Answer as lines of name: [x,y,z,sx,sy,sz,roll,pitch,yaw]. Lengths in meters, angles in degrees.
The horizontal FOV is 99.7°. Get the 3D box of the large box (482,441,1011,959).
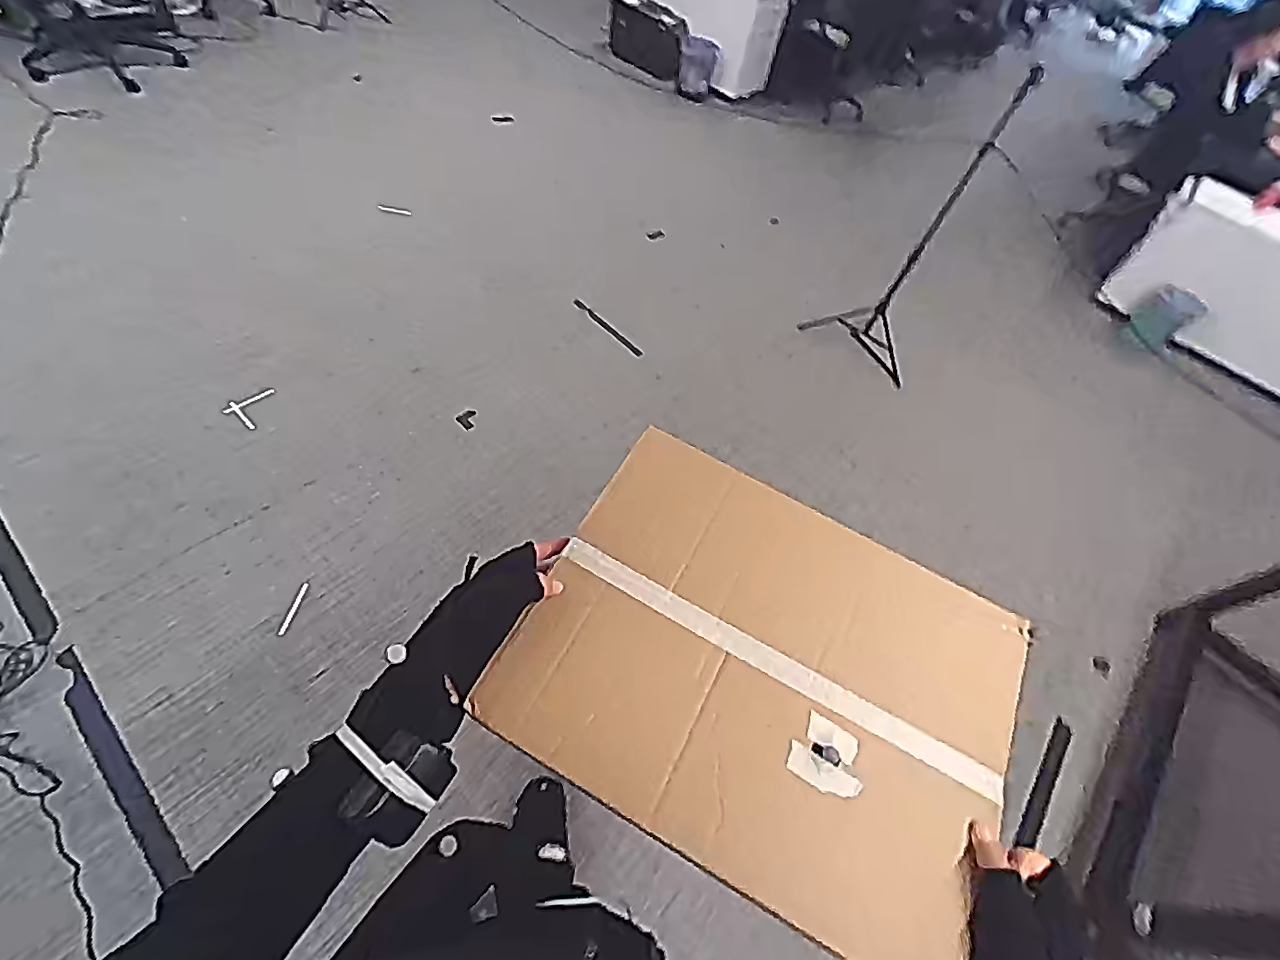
large box: [0.095,0.230,0.605,0.408,0.320,0.320,29,63,8]
